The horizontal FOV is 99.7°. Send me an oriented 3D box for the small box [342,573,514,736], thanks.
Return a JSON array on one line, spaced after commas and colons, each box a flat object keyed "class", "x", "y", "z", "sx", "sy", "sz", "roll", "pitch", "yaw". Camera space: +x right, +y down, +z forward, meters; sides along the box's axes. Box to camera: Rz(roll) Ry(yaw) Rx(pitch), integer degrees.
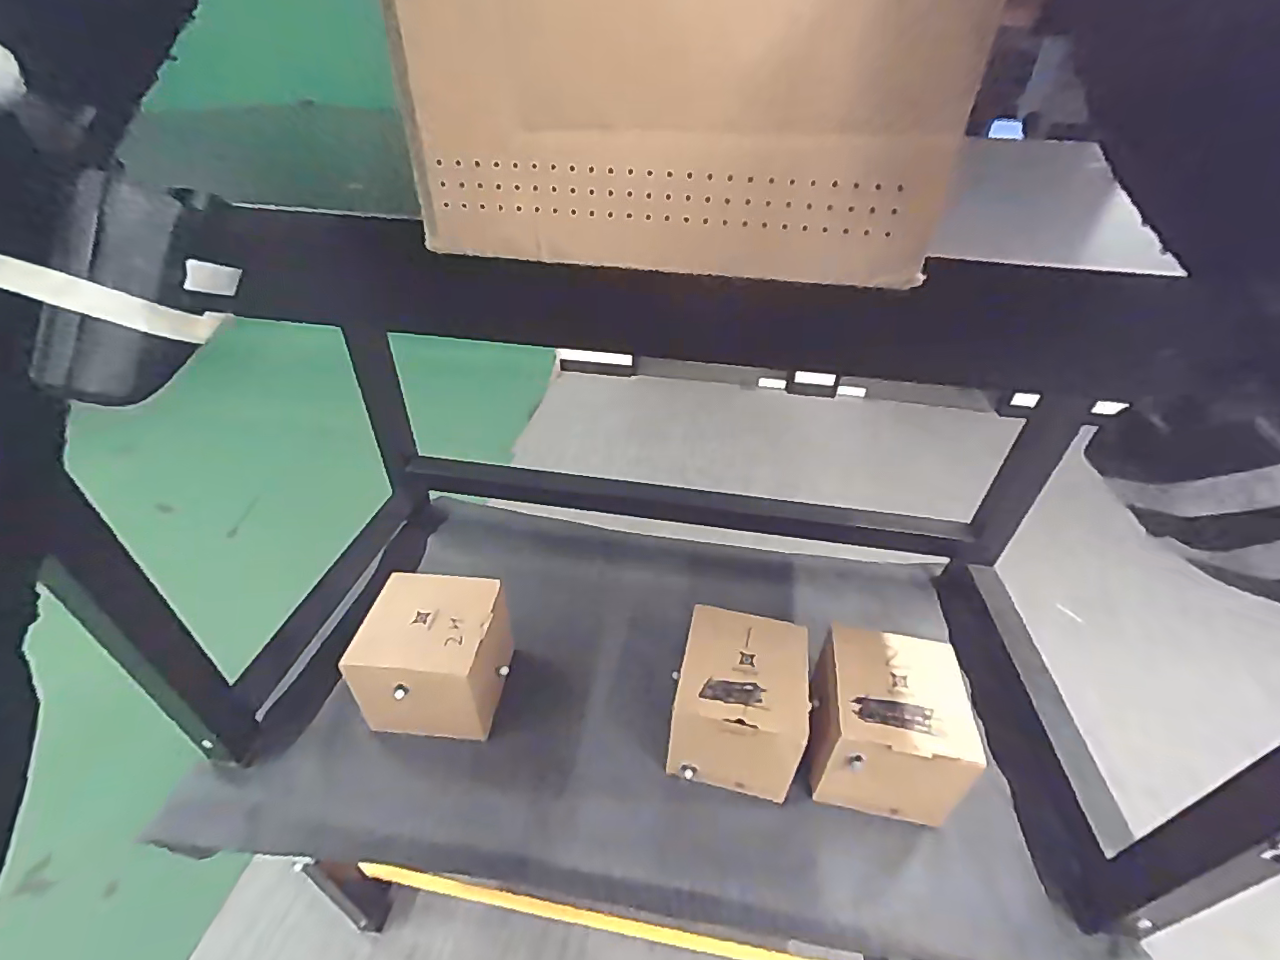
[{"class": "small box", "x": -0.303, "y": 0.263, "z": 0.815, "sx": 0.179, "sy": 0.176, "sz": 0.168, "roll": 5, "pitch": 38, "yaw": 2}]
